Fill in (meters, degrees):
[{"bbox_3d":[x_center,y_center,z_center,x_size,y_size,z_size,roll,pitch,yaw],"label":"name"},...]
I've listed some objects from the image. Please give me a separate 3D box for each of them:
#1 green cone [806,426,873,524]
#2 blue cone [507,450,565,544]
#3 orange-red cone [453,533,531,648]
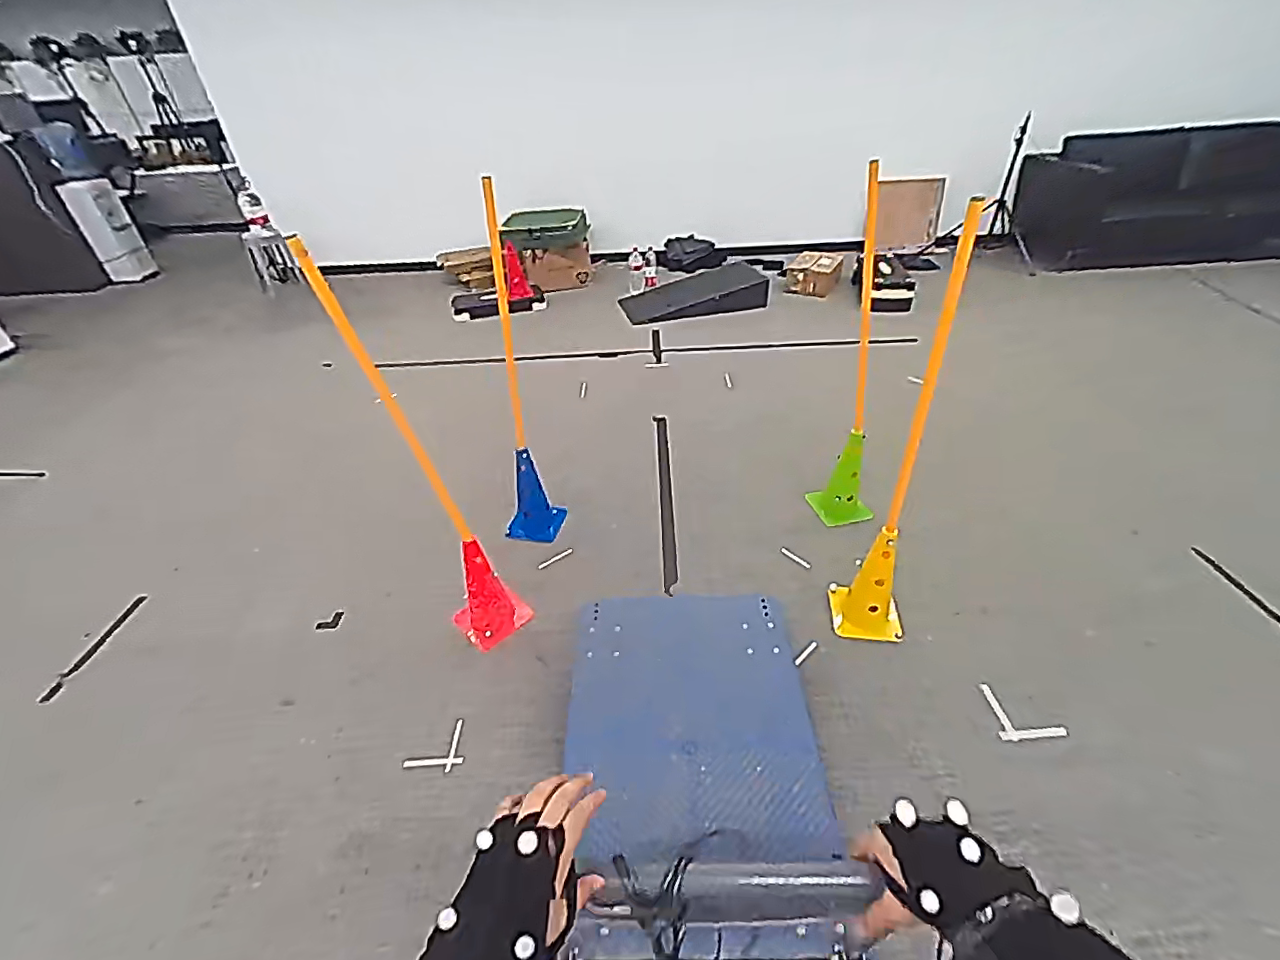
[{"bbox_3d":[0.771,-0.041,2.008,0.200,0.368,0.202,-11,40,-10],"label":"green cone"},{"bbox_3d":[-0.407,0.044,1.998,0.193,0.380,0.192,7,39,13],"label":"blue cone"},{"bbox_3d":[-0.481,0.302,1.644,0.198,0.360,0.199,30,47,34],"label":"orange-red cone"}]
